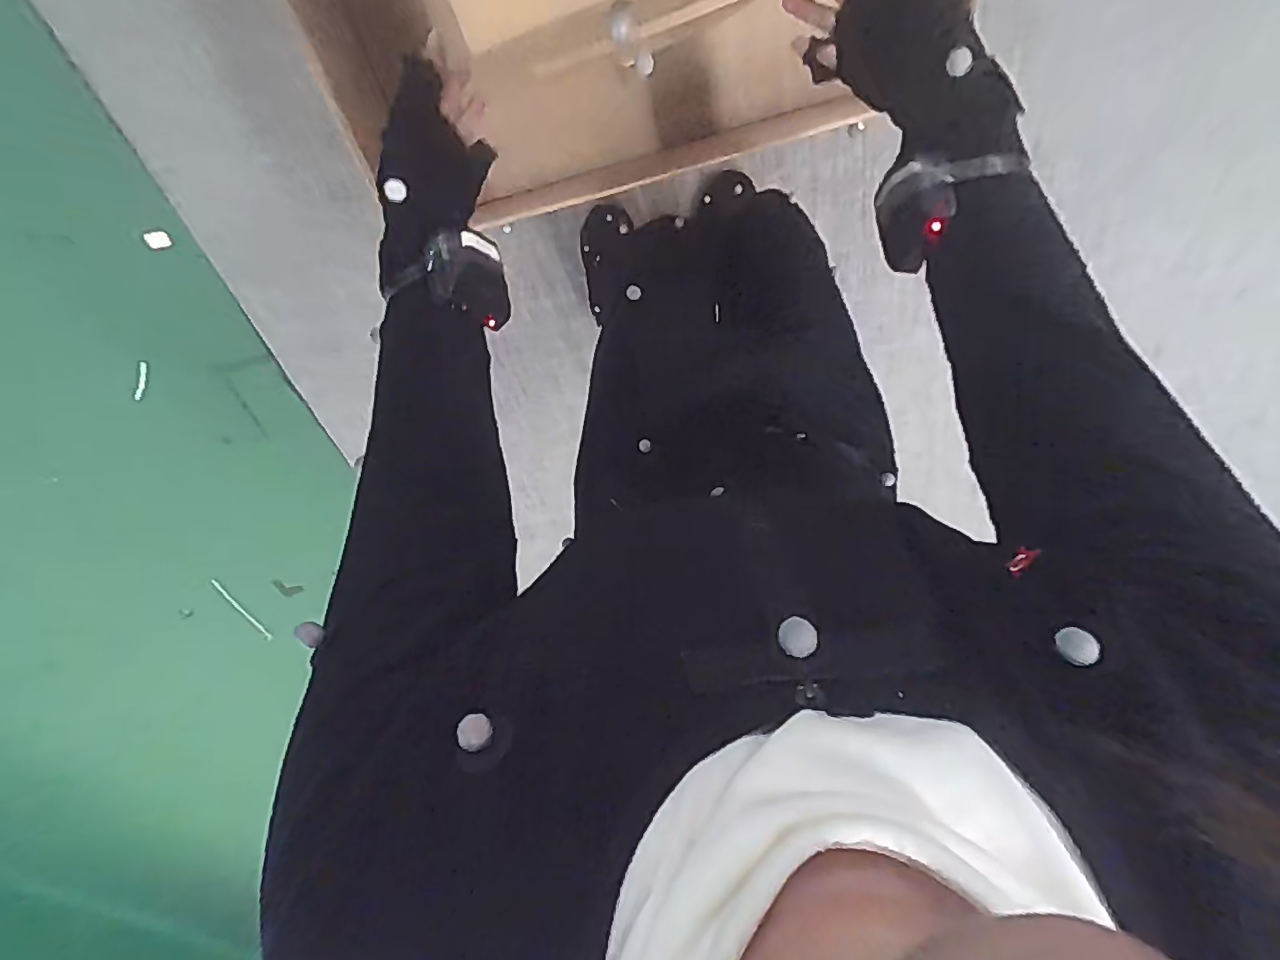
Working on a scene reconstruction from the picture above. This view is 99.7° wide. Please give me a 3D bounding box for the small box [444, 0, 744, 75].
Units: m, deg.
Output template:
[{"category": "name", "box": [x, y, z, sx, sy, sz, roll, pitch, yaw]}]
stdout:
[{"category": "small box", "box": [-0.022, -0.316, 0.244, 0.168, 0.176, 0.179, -14, 123, 11]}]
